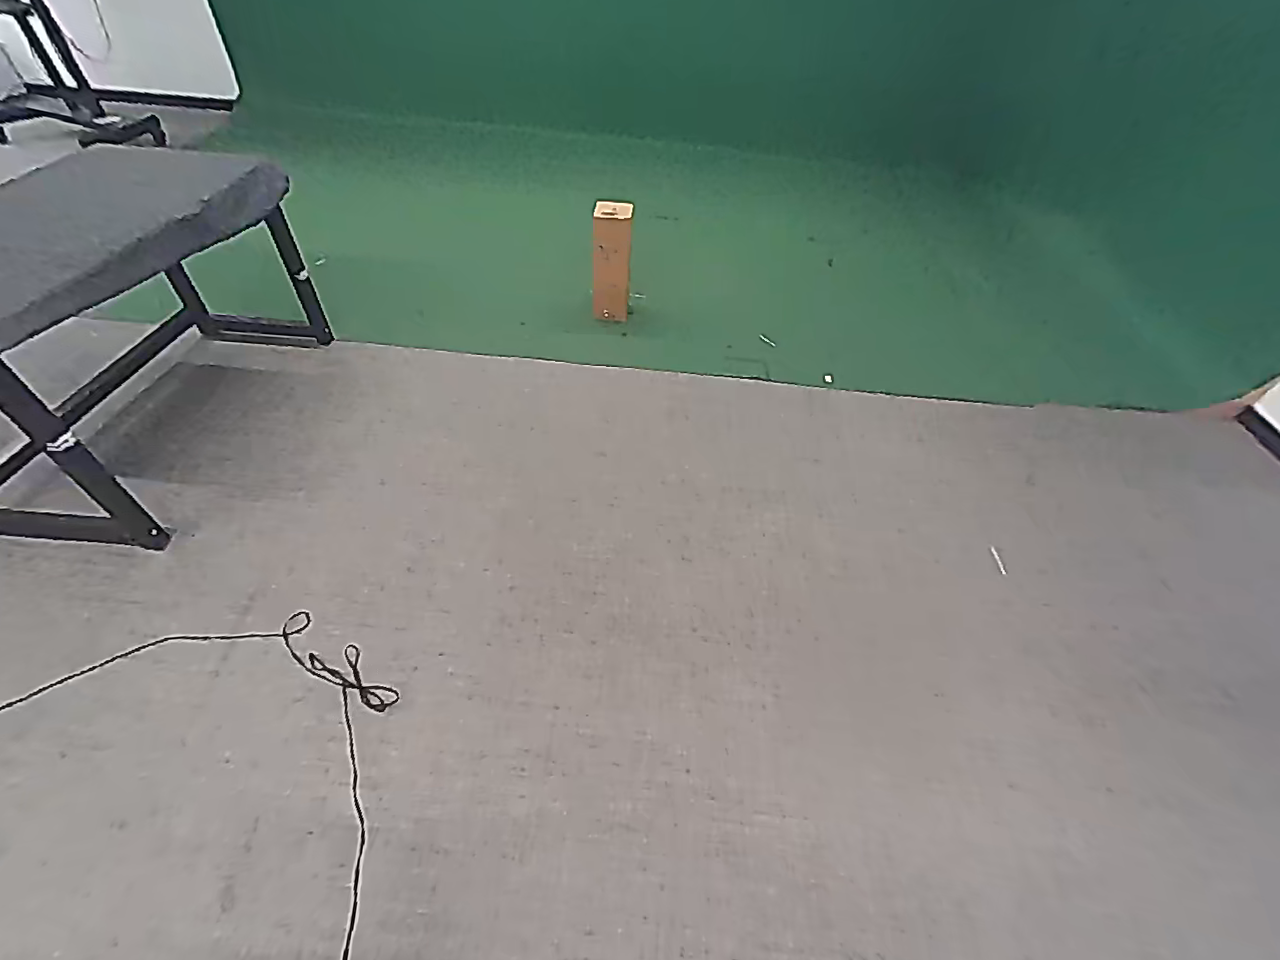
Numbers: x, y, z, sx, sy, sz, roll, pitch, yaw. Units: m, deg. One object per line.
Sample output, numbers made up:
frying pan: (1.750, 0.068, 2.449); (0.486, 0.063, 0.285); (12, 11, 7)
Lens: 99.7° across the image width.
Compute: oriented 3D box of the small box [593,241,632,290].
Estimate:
small box: (-0.131, -1.026, 2.563); (0.168, 0.176, 0.179); (6, 46, 2)

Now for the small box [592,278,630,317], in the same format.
small box: (-0.143, -0.927, 2.668); (0.168, 0.176, 0.179); (6, 47, 3)

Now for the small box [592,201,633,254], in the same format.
small box: (-0.121, -1.140, 2.444); (0.168, 0.176, 0.179); (5, 46, 0)
